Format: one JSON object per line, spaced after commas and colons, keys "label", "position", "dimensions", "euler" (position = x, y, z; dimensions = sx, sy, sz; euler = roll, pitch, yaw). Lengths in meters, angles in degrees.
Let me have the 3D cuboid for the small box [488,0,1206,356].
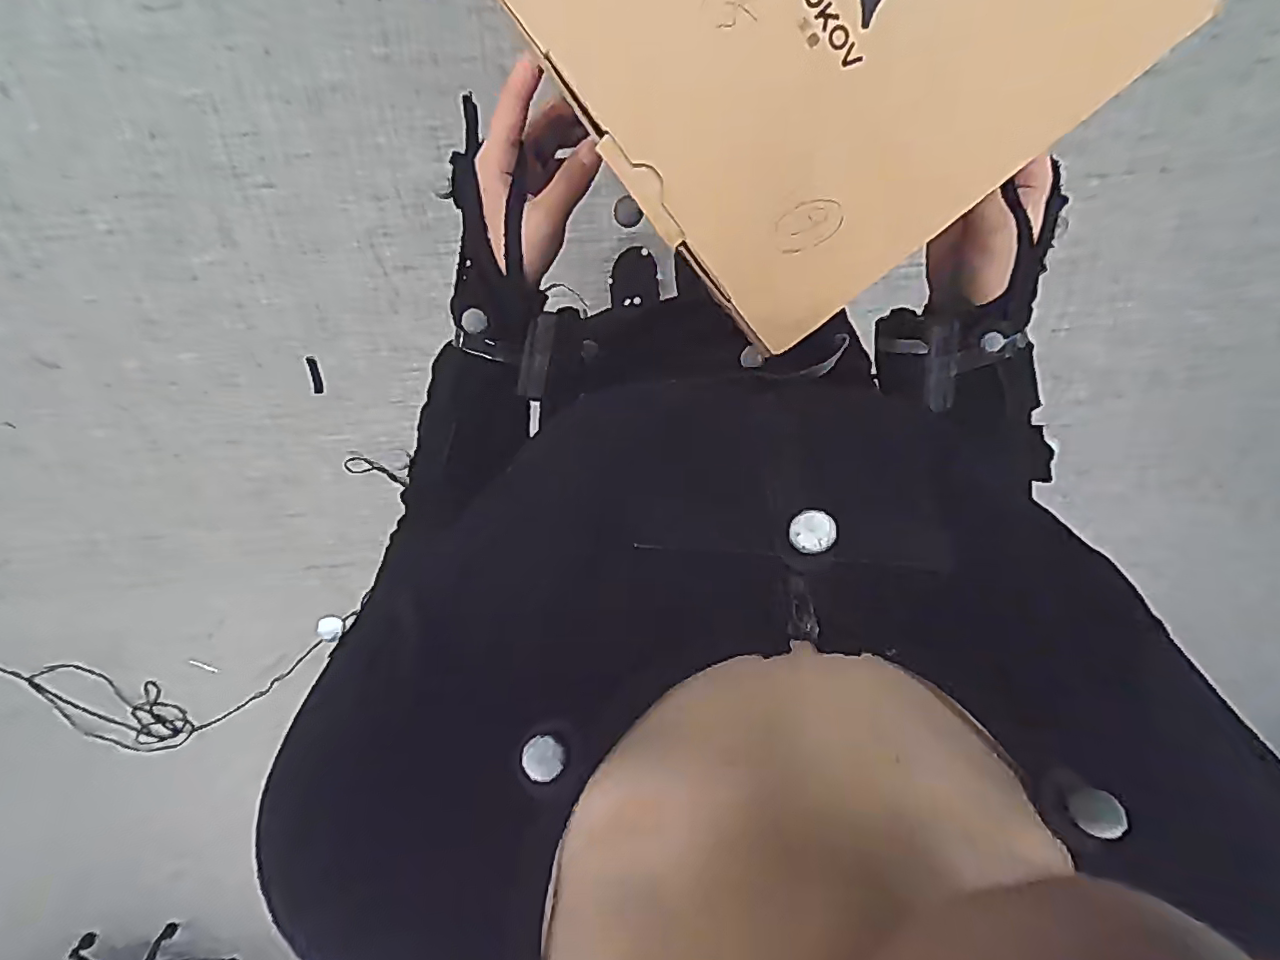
{"label": "small box", "position": [0.068, -0.188, 0.248], "dimensions": [0.179, 0.176, 0.168], "euler": [-37, 109, 18]}
